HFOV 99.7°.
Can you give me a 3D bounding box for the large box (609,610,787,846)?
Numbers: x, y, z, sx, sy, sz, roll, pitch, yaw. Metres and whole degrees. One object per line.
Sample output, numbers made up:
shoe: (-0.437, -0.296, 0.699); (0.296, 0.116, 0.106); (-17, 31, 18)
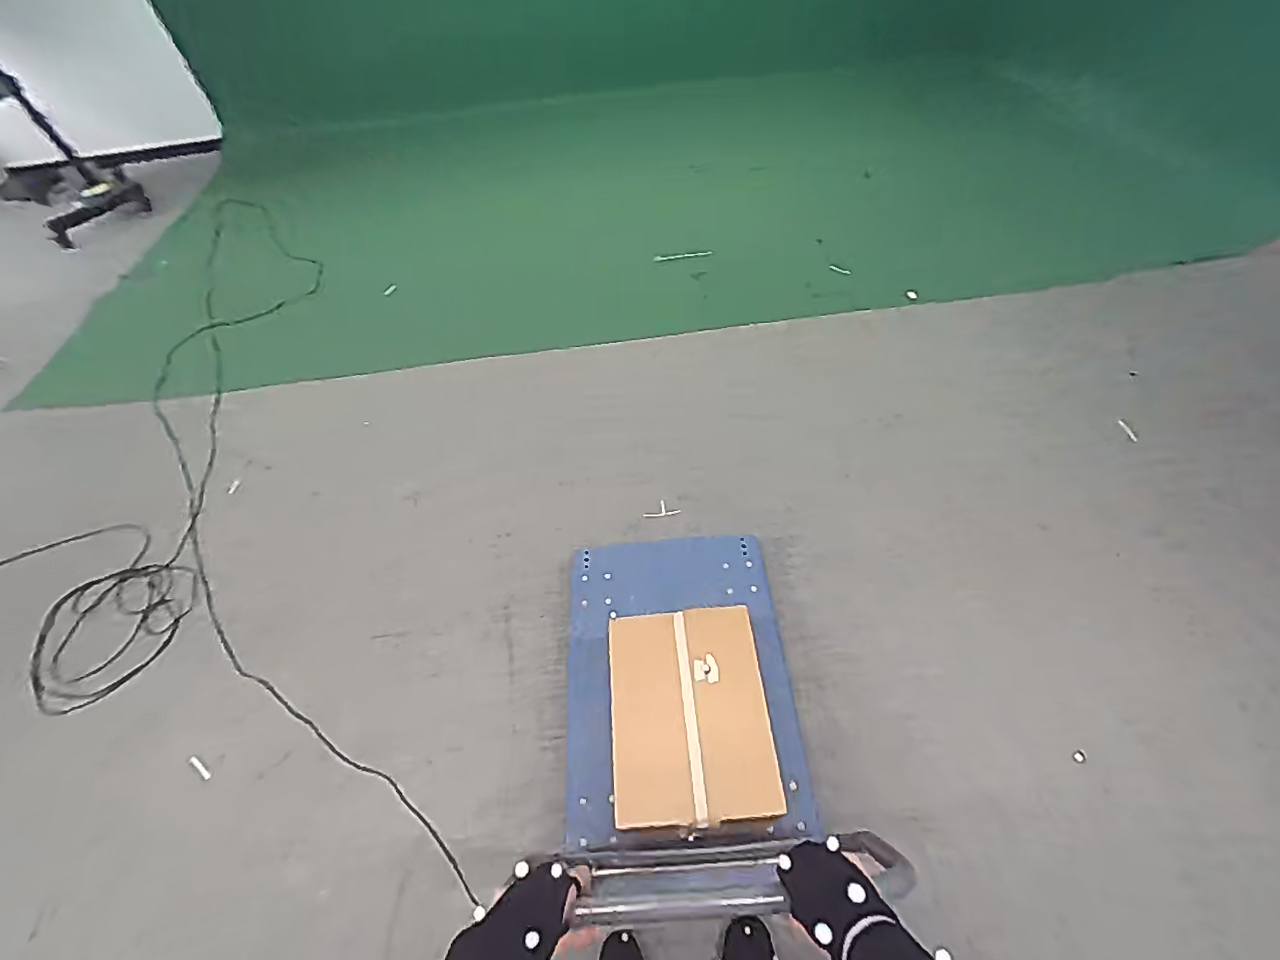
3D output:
large box: (0.112, 0.553, 1.207); (0.320, 0.320, 0.408); (-6, 52, 1)
